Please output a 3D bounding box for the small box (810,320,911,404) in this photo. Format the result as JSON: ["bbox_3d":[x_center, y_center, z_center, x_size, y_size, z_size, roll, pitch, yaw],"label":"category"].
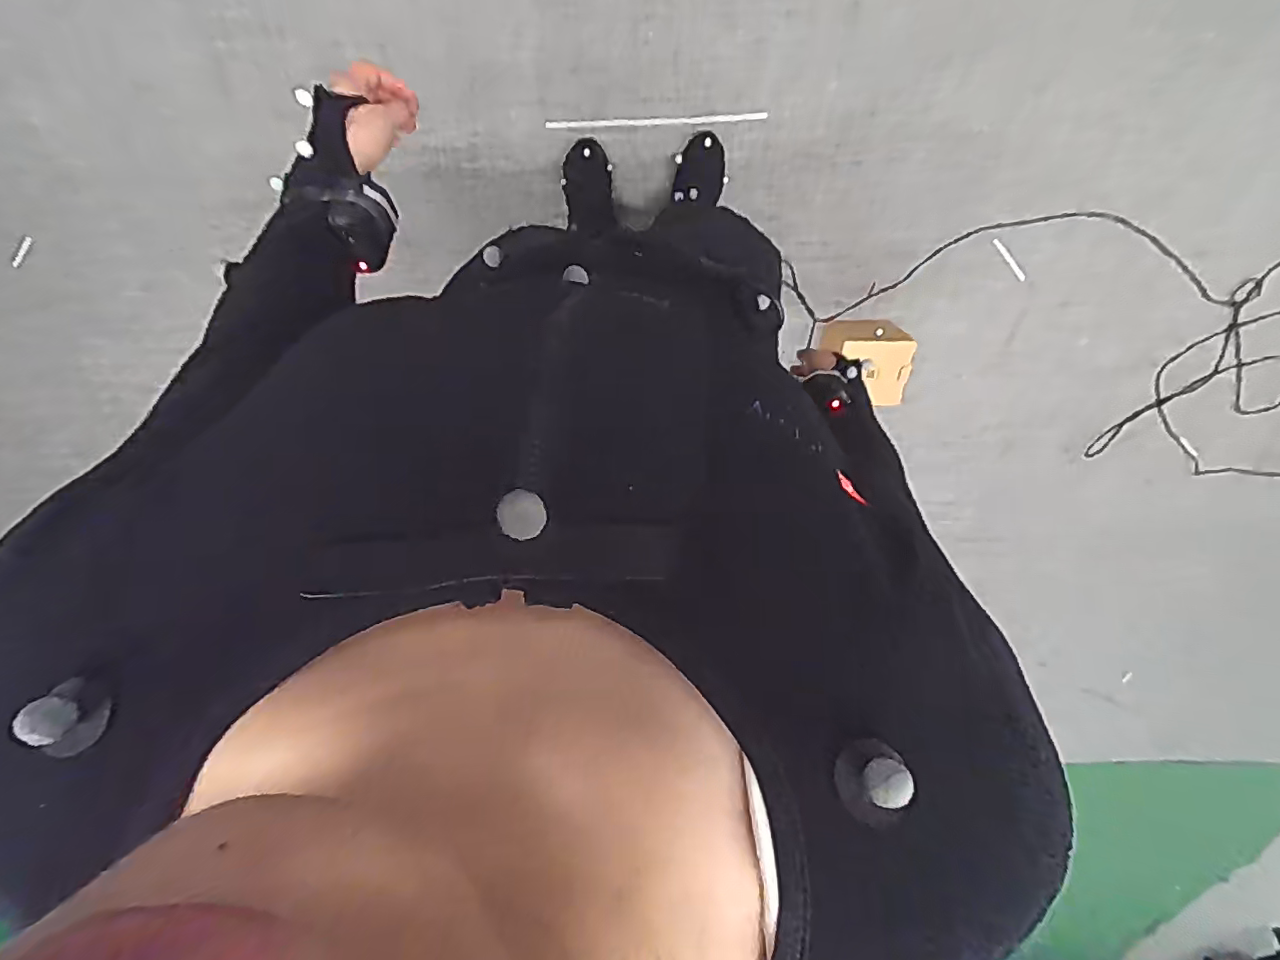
[{"bbox_3d":[0.549,-0.303,1.374,0.179,0.176,0.168,0,123,-1],"label":"small box"}]
